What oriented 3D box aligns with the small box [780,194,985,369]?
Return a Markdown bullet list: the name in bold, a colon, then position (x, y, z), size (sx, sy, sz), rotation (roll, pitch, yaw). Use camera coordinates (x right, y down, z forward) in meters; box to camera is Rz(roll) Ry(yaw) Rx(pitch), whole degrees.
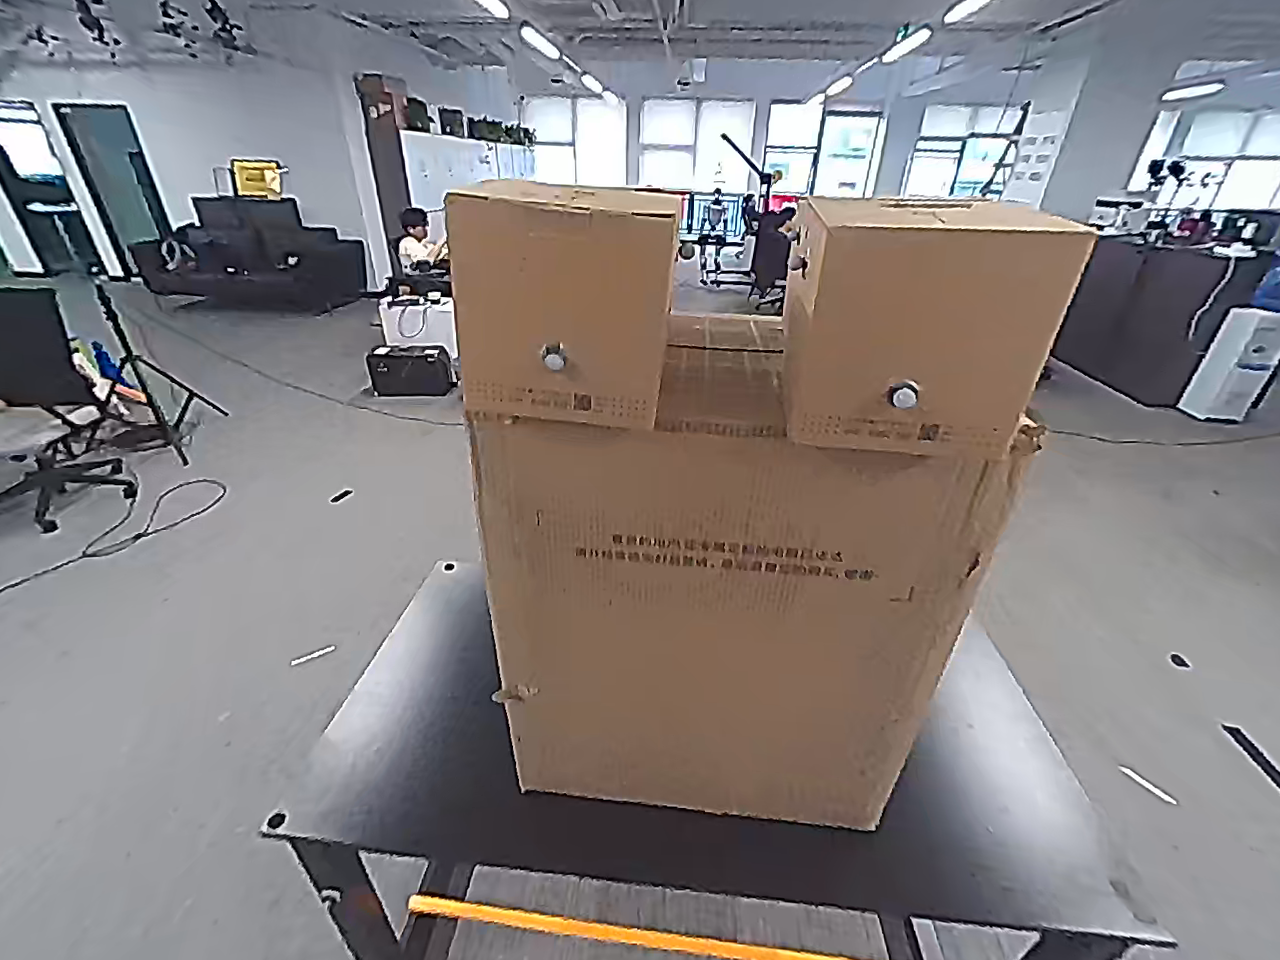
- **small box**: position (0.261, -0.237, 0.633), size (0.168, 0.176, 0.179), rotation (3, 29, 8)
